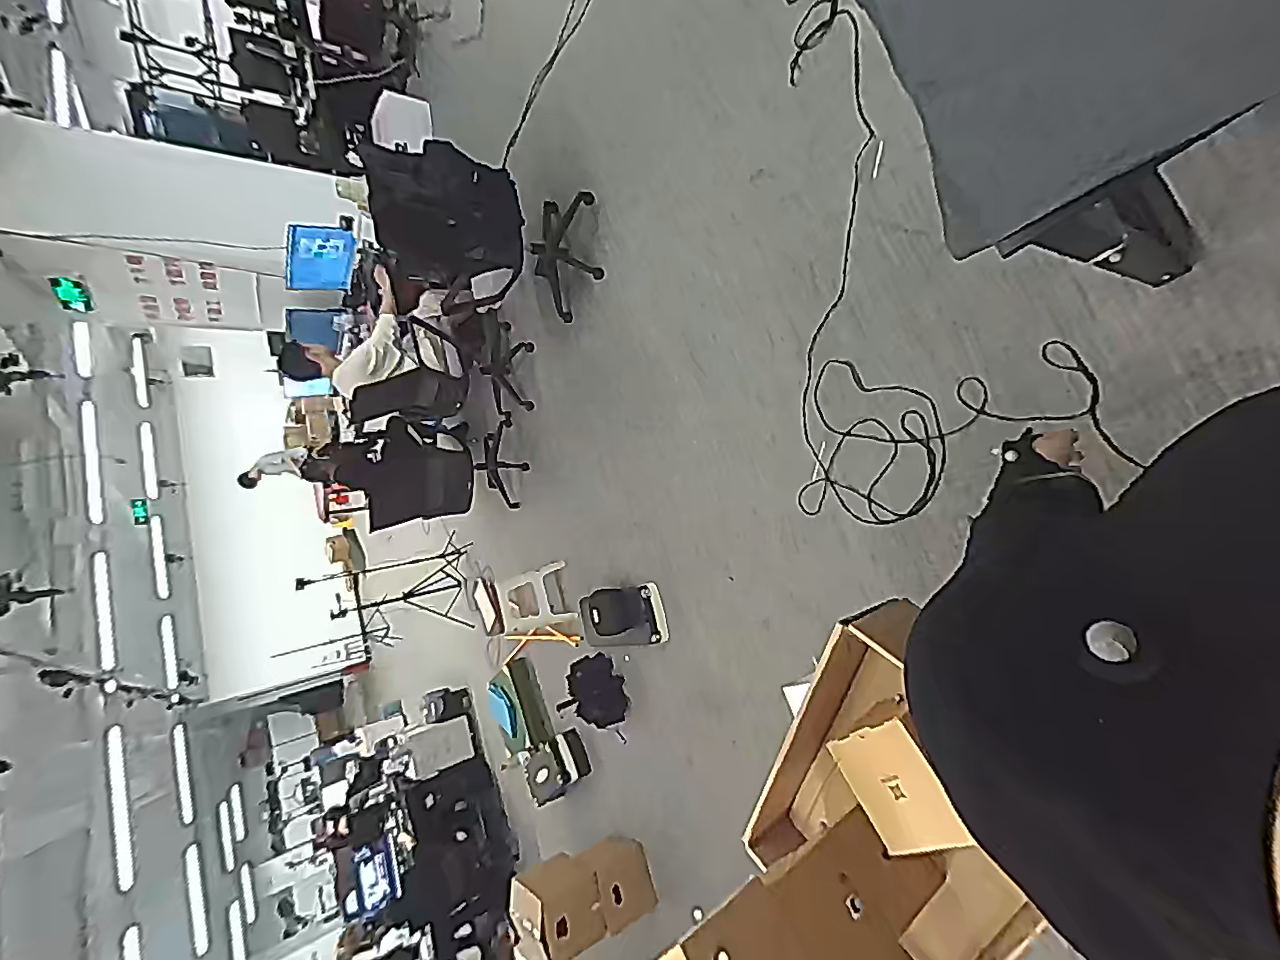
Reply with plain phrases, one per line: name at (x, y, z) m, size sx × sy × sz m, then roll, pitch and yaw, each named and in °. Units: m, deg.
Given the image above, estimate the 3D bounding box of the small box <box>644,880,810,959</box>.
small box at (0.133, 0.724, 0.779) m, size 0.179 × 0.176 × 0.168 m, roll 49°, pitch 132°, yaw 33°

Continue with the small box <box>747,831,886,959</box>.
small box at (0.261, 0.721, 0.884) m, size 0.168 × 0.176 × 0.179 m, roll 52°, pitch 132°, yaw 31°
